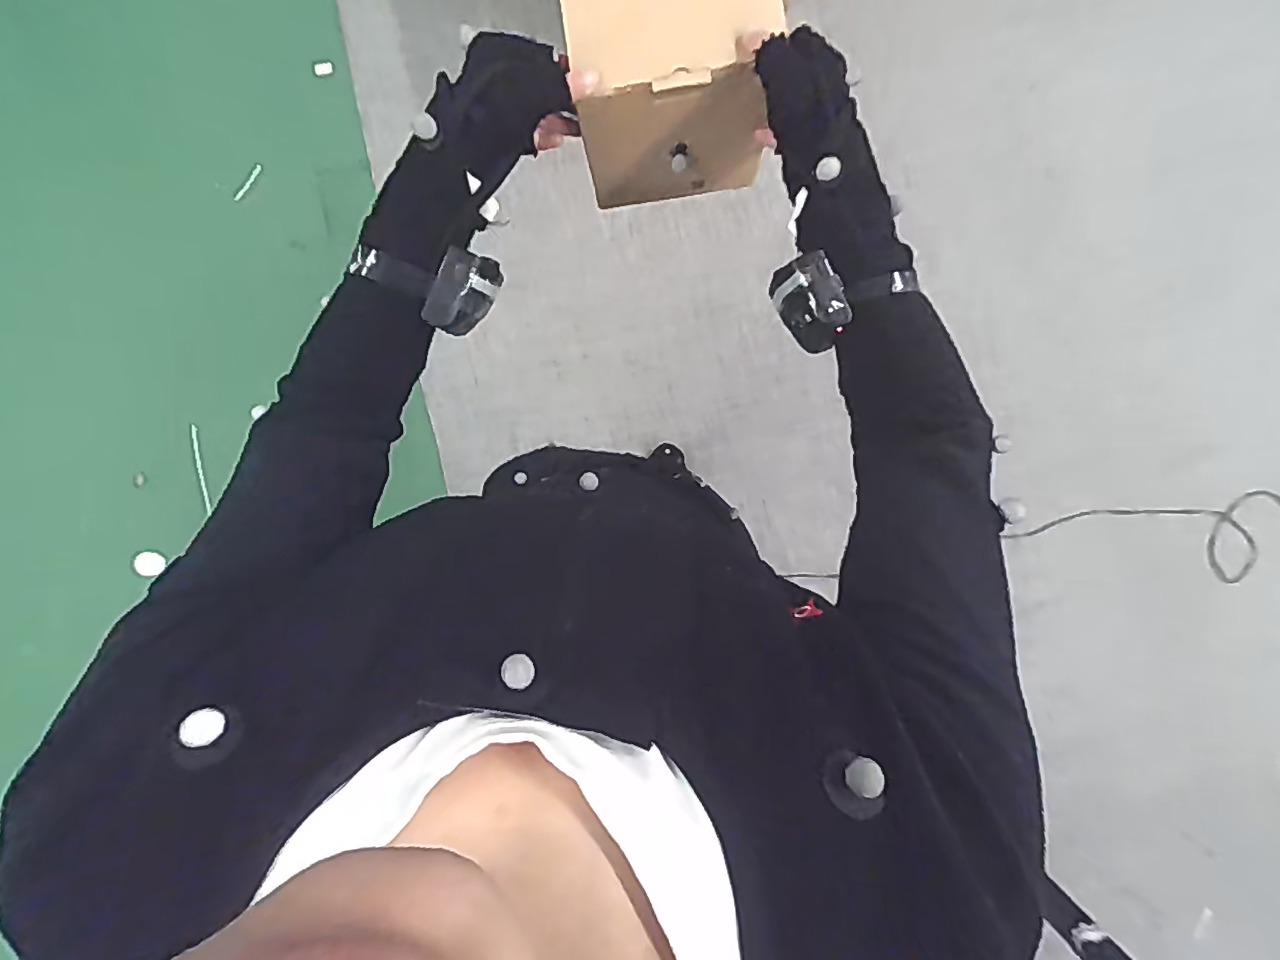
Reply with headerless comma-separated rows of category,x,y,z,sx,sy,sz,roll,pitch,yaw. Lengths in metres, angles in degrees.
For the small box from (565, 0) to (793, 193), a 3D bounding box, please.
small box,0.028,-0.384,0.482,0.168,0.176,0.179,-8,89,3
